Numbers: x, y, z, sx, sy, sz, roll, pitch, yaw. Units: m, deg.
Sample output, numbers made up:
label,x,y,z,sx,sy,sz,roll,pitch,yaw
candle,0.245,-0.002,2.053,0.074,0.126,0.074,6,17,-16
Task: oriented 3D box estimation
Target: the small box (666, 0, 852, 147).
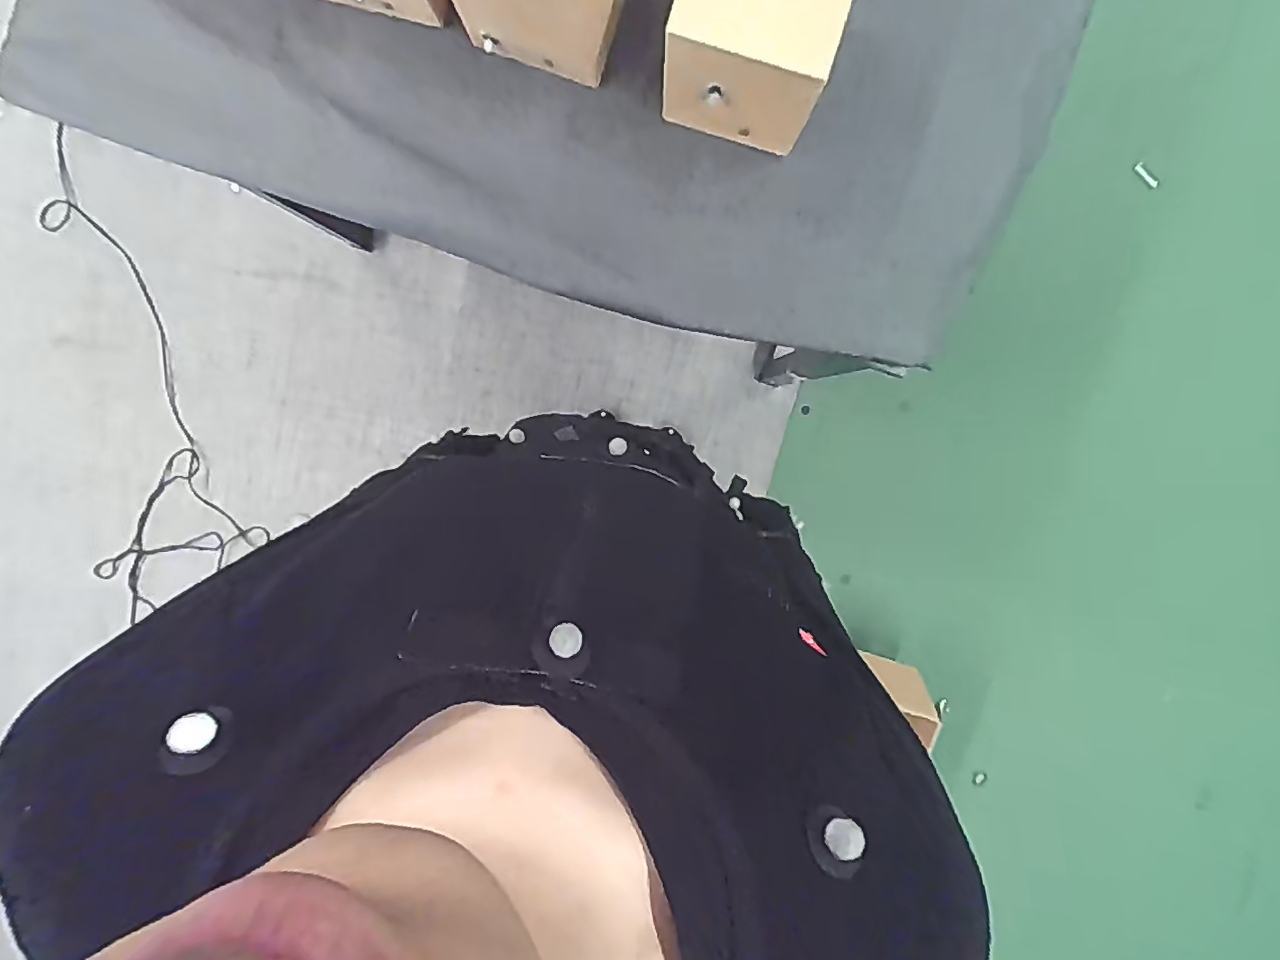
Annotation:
label,x,y,z,sx,sy,sz,roll,pitch,yaw
small box,0.131,-0.501,0.584,0.168,0.176,0.179,16,98,-1
